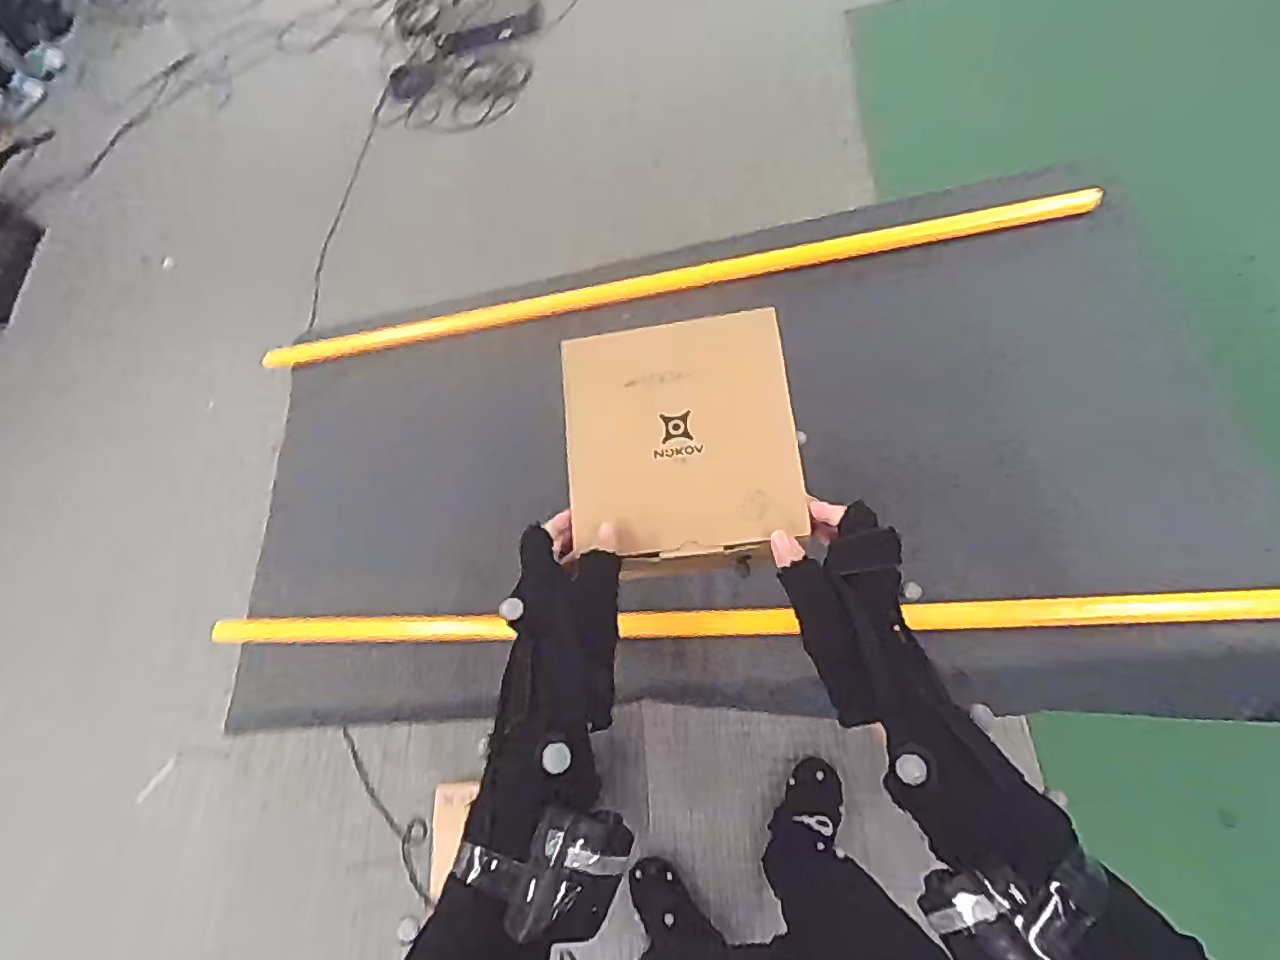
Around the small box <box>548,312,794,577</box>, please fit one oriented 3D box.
[{"bbox_3d":[0.028,-0.013,0.466,0.168,0.176,0.179,-8,75,6],"label":"small box"}]

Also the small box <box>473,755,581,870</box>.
[{"bbox_3d":[-0.239,0.720,1.196,0.168,0.176,0.179,1,71,15],"label":"small box"}]
